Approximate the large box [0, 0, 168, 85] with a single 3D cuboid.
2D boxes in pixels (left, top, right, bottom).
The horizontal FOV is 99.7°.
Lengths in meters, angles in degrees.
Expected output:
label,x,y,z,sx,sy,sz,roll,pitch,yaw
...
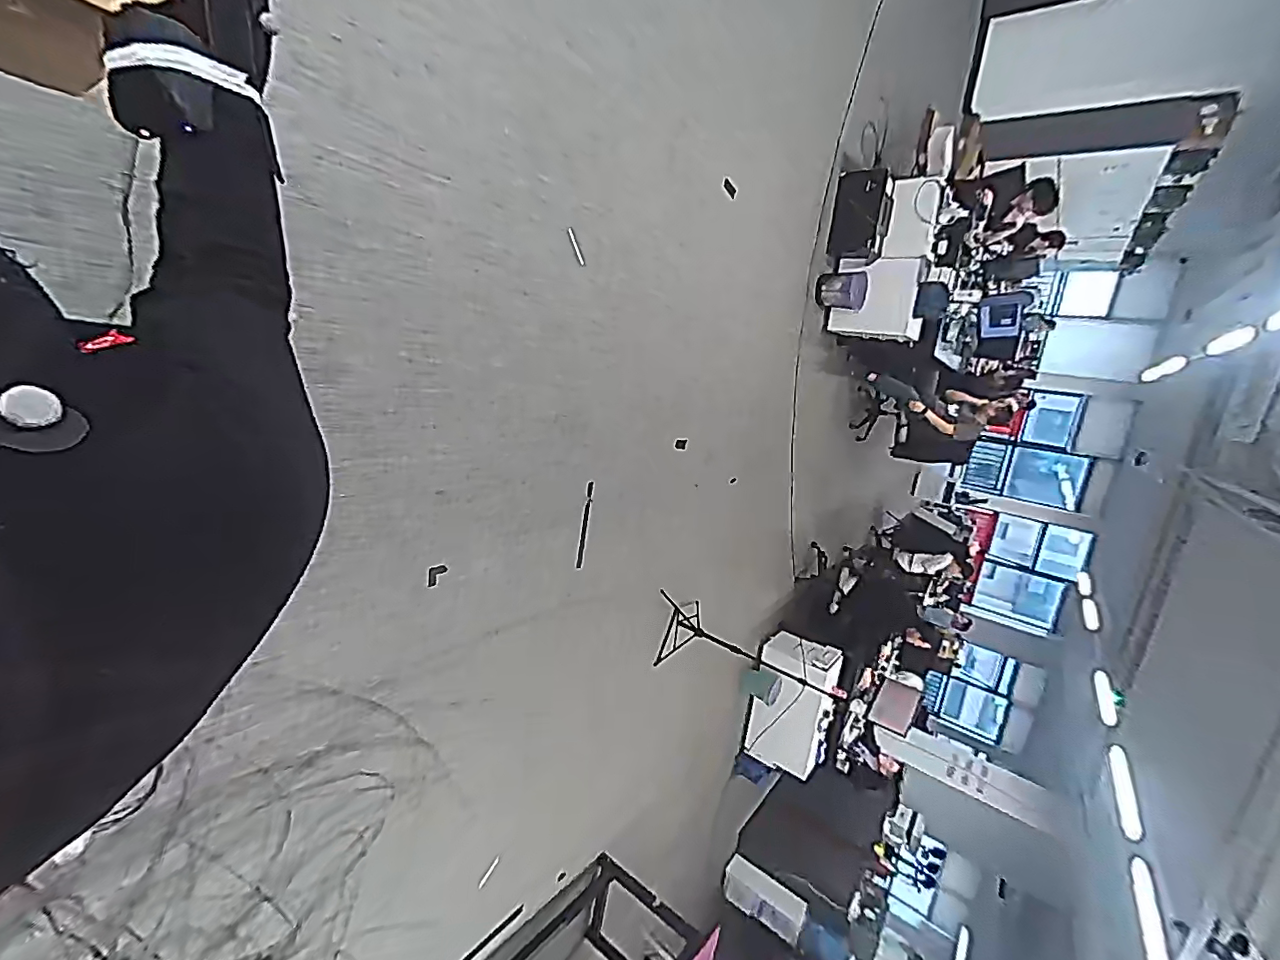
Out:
label,x,y,z,sx,sy,sz,roll,pitch,yaw
large box,-0.544,-0.481,0.270,0.408,0.320,0.320,-7,113,-54
